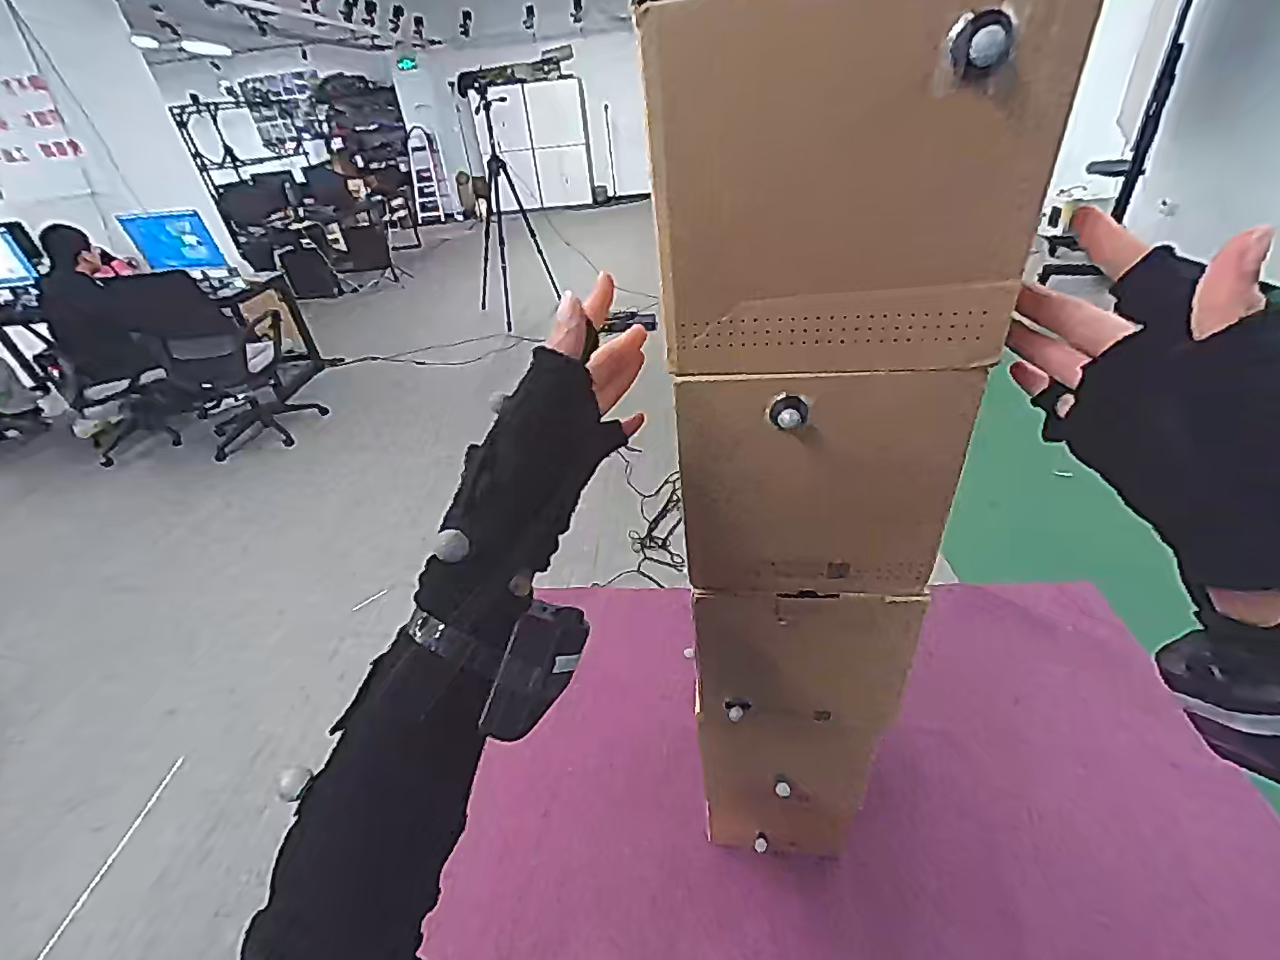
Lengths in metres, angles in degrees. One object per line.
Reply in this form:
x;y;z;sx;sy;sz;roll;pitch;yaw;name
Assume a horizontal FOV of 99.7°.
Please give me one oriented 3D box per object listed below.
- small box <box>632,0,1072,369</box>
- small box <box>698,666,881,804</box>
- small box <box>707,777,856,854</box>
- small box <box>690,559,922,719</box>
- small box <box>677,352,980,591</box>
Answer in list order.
0.103;-0.172;0.317;0.179;0.176;0.168;2;36;11;small box
0.152;0.225;0.602;0.168;0.176;0.179;-2;35;9;small box
0.174;0.349;0.707;0.168;0.176;0.179;-1;36;10;small box
0.138;0.097;0.500;0.168;0.176;0.179;-1;35;9;small box
0.121;-0.040;0.411;0.168;0.176;0.179;0;34;11;small box
